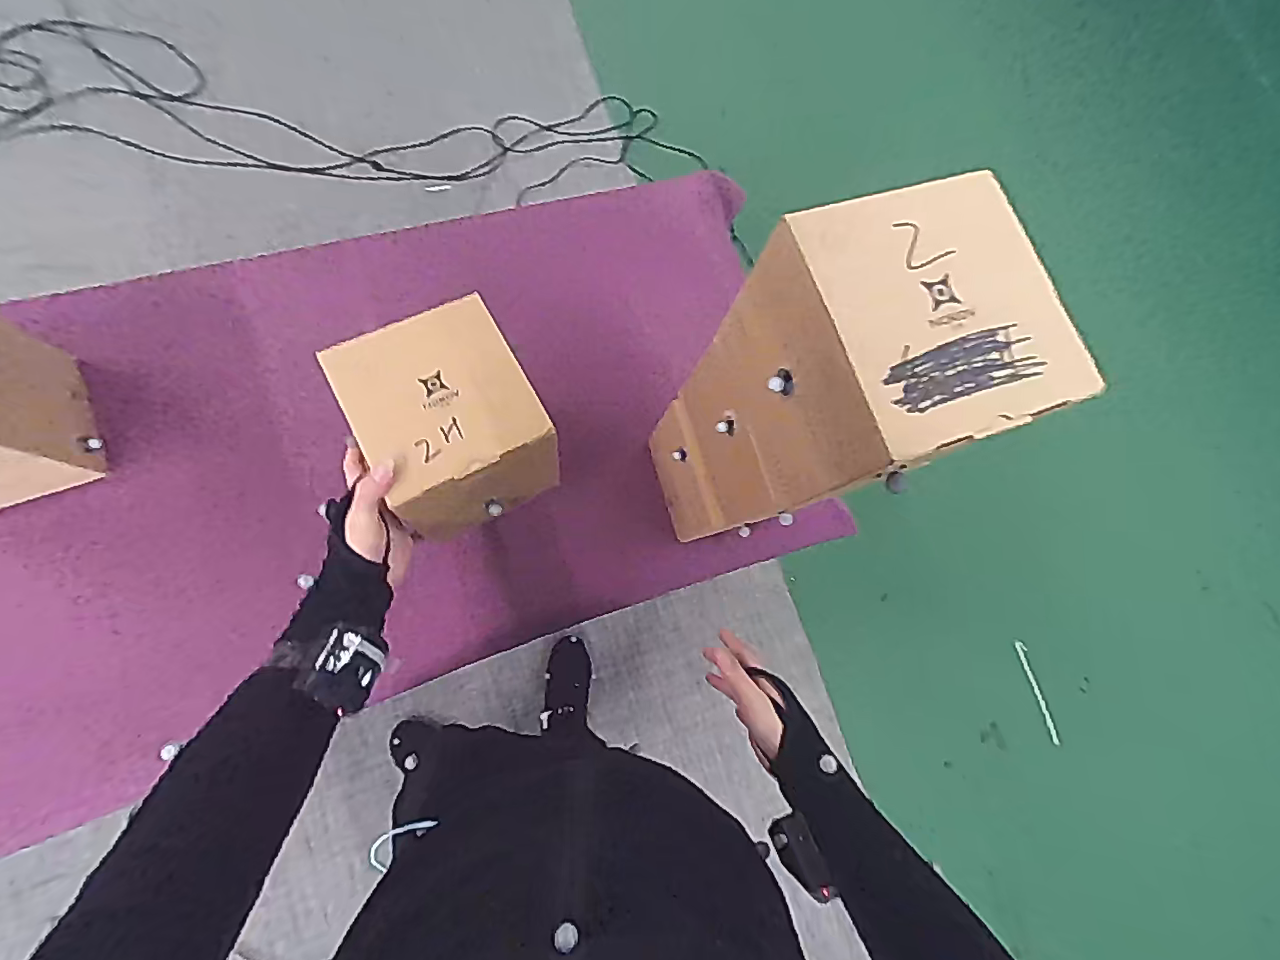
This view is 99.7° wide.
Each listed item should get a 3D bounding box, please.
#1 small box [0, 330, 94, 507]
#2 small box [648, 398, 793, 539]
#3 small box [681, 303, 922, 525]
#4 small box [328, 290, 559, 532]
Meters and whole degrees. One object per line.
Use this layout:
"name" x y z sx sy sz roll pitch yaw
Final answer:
"small box" -0.747 -0.066 0.576 0.179 0.176 0.168 -22 84 -14
"small box" 0.126 -0.023 0.745 0.179 0.176 0.168 -14 80 -13
"small box" 0.157 -0.062 0.588 0.168 0.176 0.179 -14 81 -12
"small box" -0.200 -0.066 0.594 0.168 0.176 0.179 -27 78 -15
